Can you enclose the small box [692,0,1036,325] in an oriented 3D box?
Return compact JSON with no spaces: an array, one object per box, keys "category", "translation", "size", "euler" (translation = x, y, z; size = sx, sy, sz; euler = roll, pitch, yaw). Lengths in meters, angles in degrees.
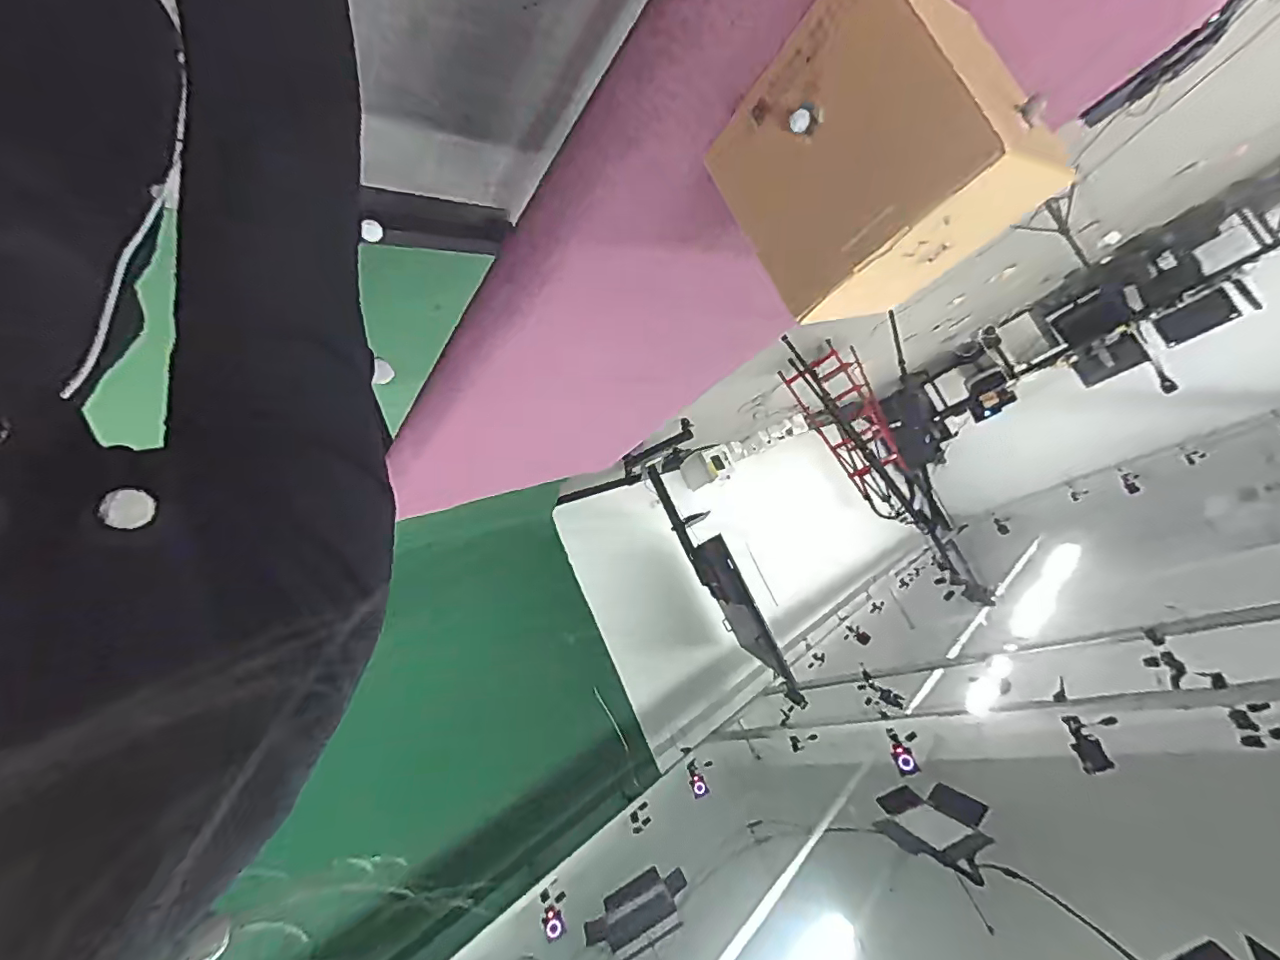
[{"category":"small box","translation":[0.178,-0.253,0.448],"size":[0.179,0.176,0.168],"euler":[-20,170,-40]}]
